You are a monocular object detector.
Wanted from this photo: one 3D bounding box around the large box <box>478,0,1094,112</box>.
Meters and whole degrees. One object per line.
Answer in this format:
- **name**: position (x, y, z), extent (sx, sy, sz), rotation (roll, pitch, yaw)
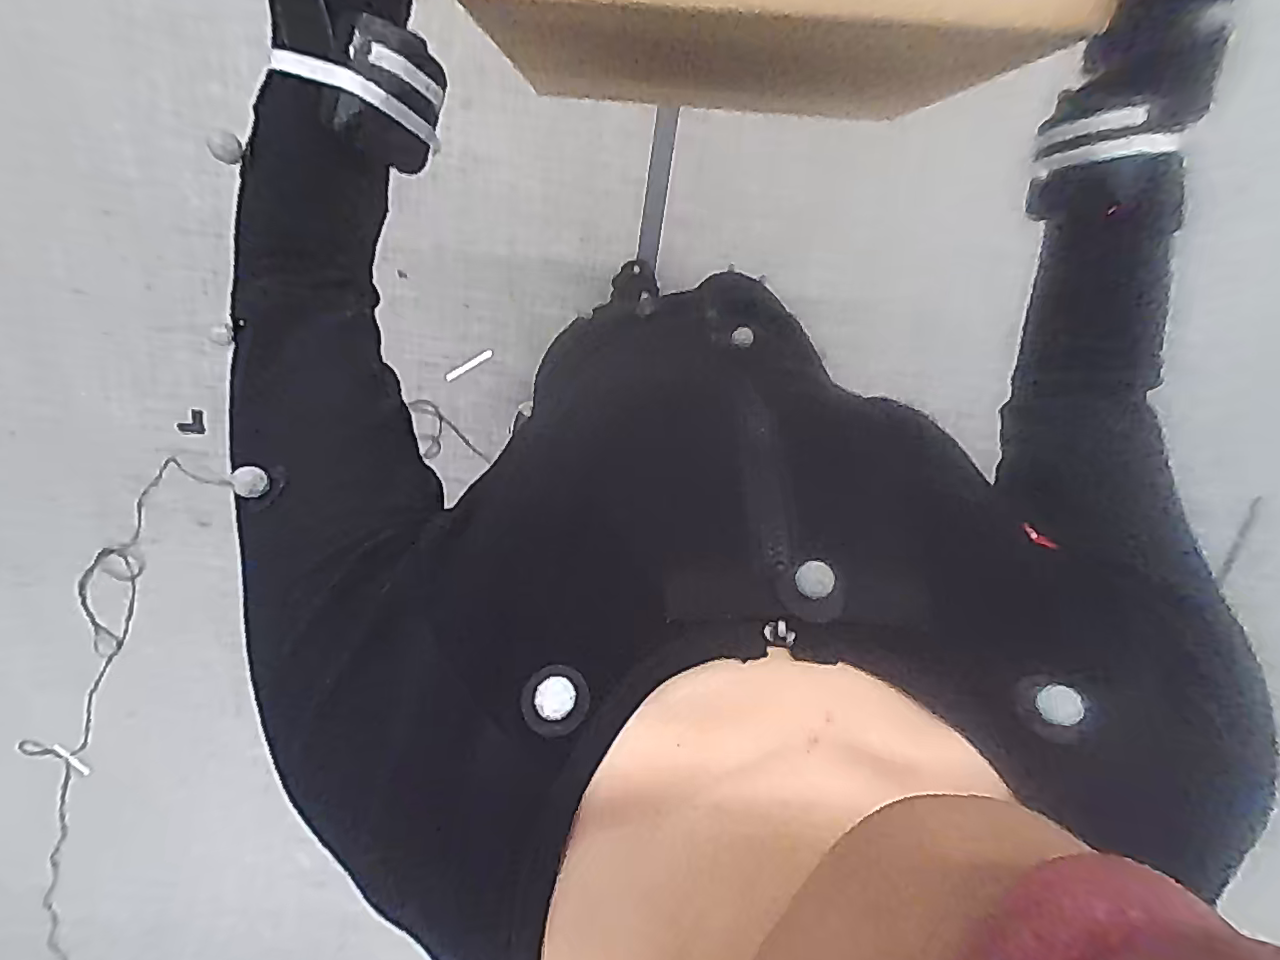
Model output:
- **large box**: position (0.090, -0.496, 0.407), extent (0.408, 0.320, 0.320), rotation (3, 116, -2)
